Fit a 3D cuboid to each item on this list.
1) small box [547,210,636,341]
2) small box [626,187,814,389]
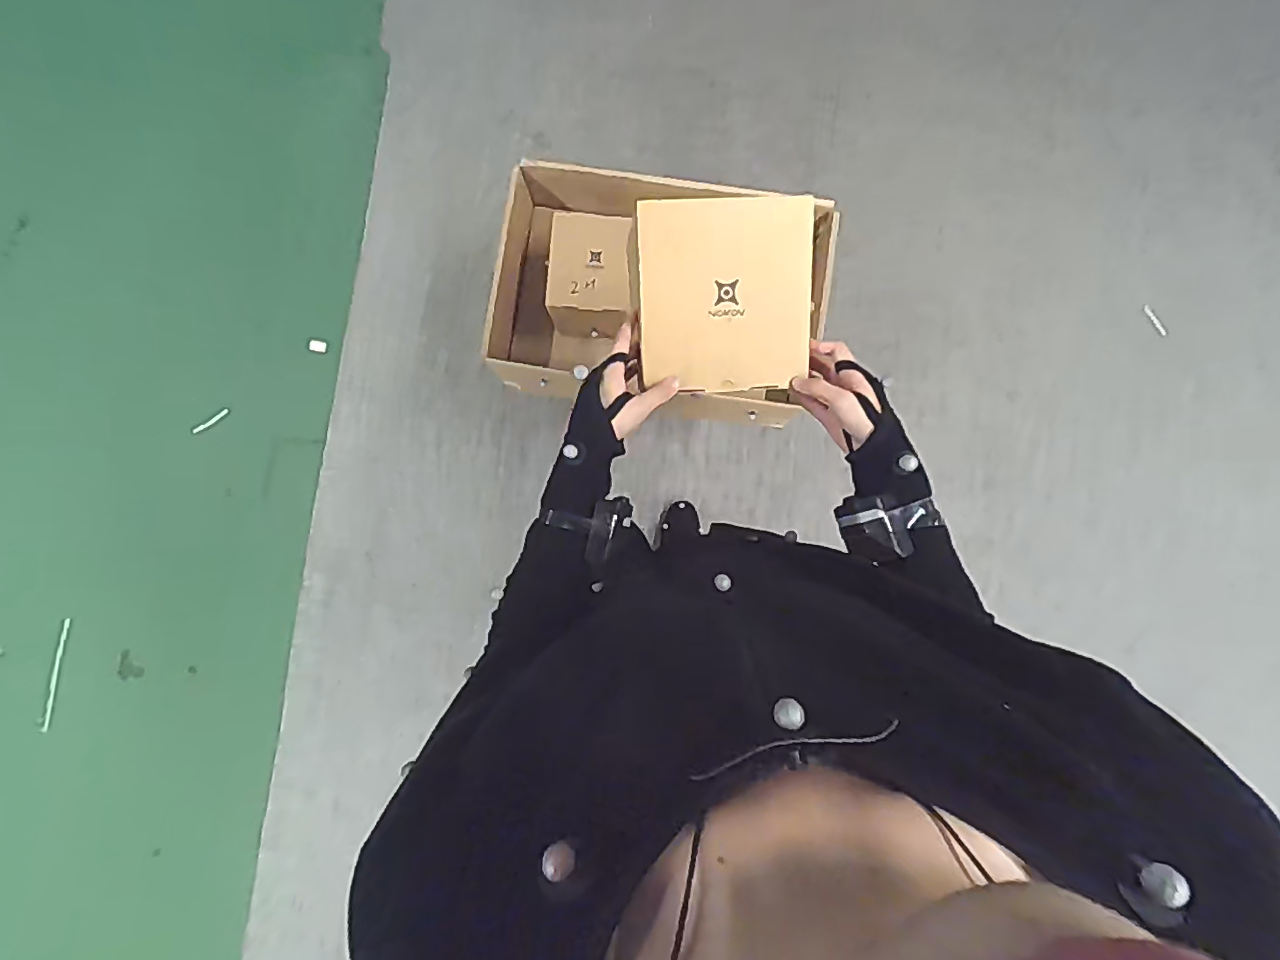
[{"bbox_3d":[-0.076,-0.386,1.041,0.168,0.176,0.179,5,87,1],"label":"small box"},{"bbox_3d":[0.073,-0.193,0.579,0.168,0.176,0.179,-4,104,-3],"label":"small box"}]
